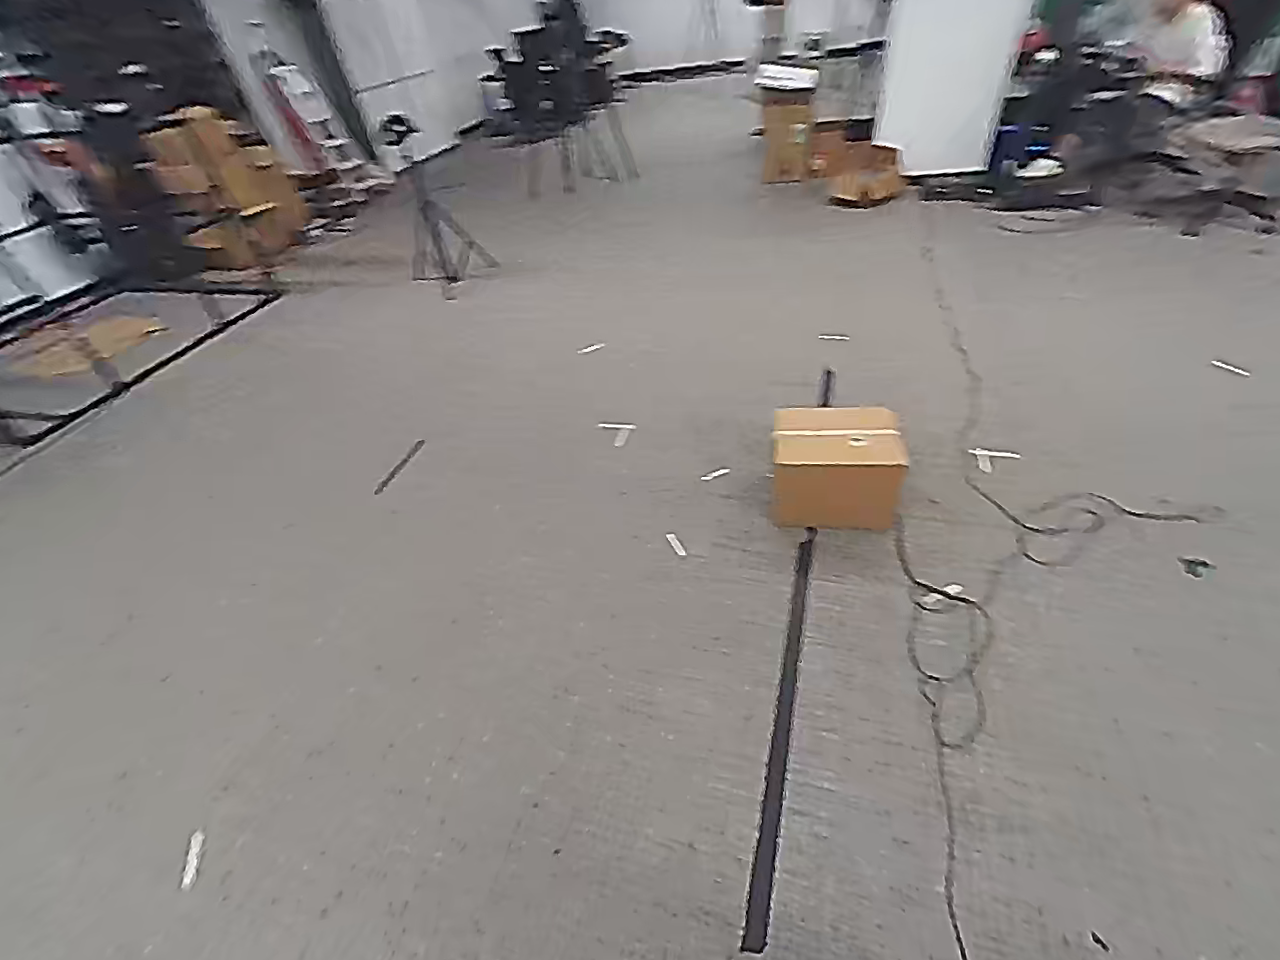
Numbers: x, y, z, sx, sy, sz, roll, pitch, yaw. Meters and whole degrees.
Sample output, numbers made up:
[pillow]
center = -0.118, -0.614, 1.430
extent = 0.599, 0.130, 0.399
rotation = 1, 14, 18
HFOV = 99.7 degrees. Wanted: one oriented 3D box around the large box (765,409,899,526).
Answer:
[large box]
center = 0.666, -0.045, 1.953
extent = 0.408, 0.320, 0.320
rotation = 1, 43, 11
